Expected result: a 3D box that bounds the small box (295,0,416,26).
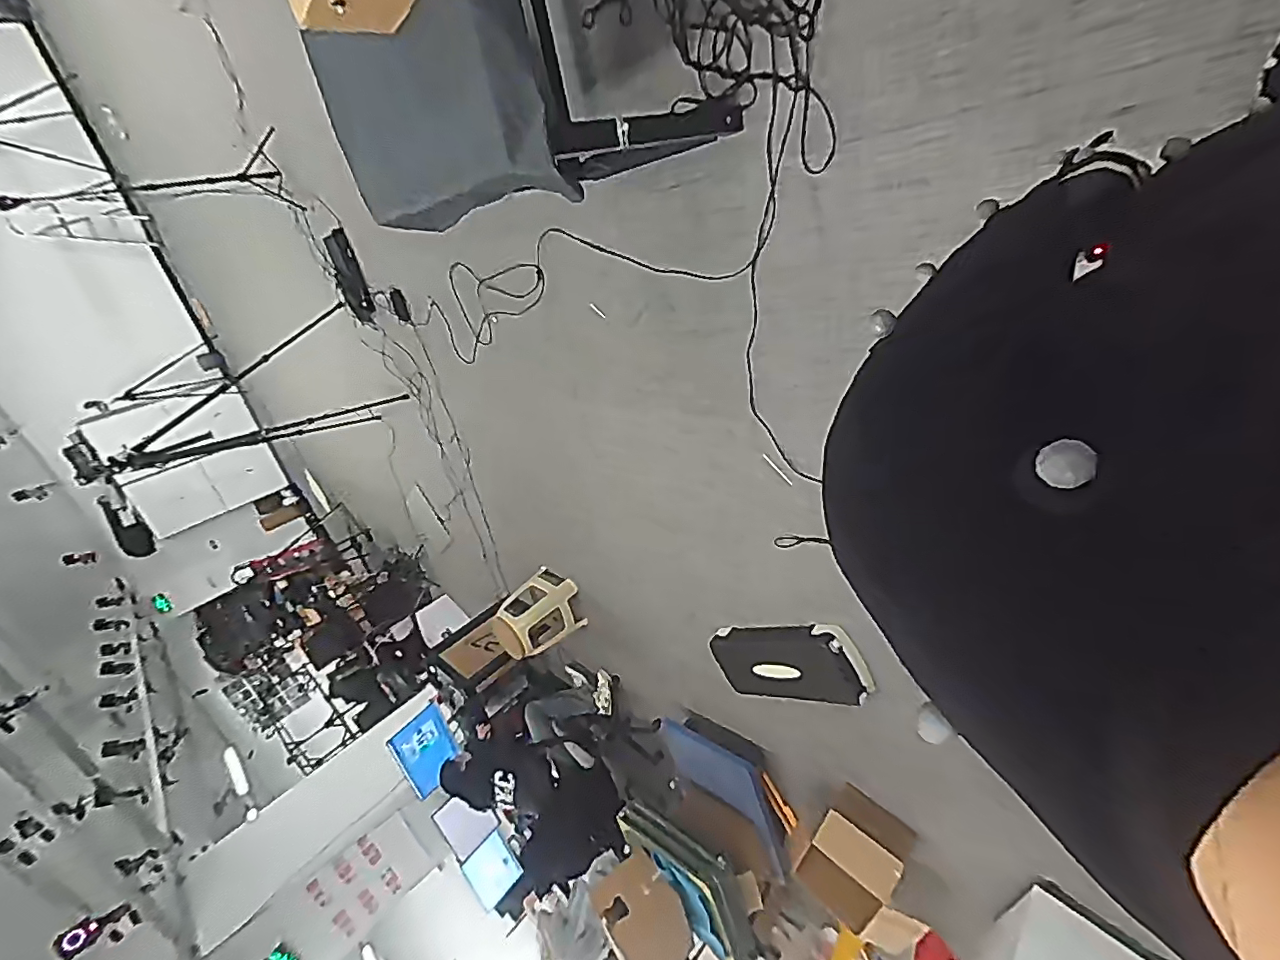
[{"bbox_3d":[-0.450,-0.834,0.828,0.179,0.176,0.168,5,121,47],"label":"small box"}]
